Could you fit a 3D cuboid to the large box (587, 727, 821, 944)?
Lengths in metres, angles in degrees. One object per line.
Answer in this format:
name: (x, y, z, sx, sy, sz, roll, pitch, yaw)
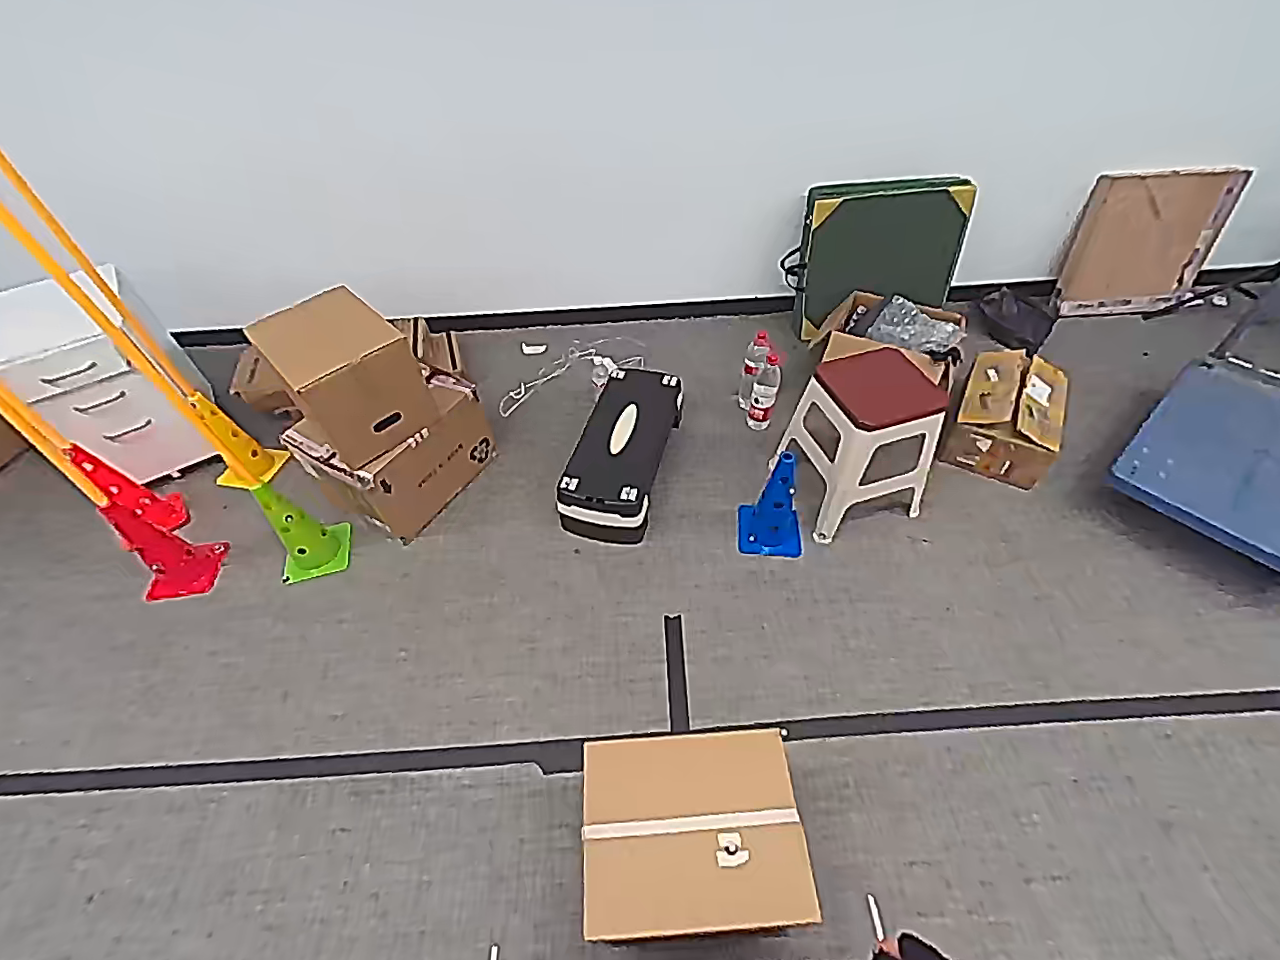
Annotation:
large box: (0.103, 0.737, 1.120, 0.408, 0.320, 0.320, -3, 49, -2)
